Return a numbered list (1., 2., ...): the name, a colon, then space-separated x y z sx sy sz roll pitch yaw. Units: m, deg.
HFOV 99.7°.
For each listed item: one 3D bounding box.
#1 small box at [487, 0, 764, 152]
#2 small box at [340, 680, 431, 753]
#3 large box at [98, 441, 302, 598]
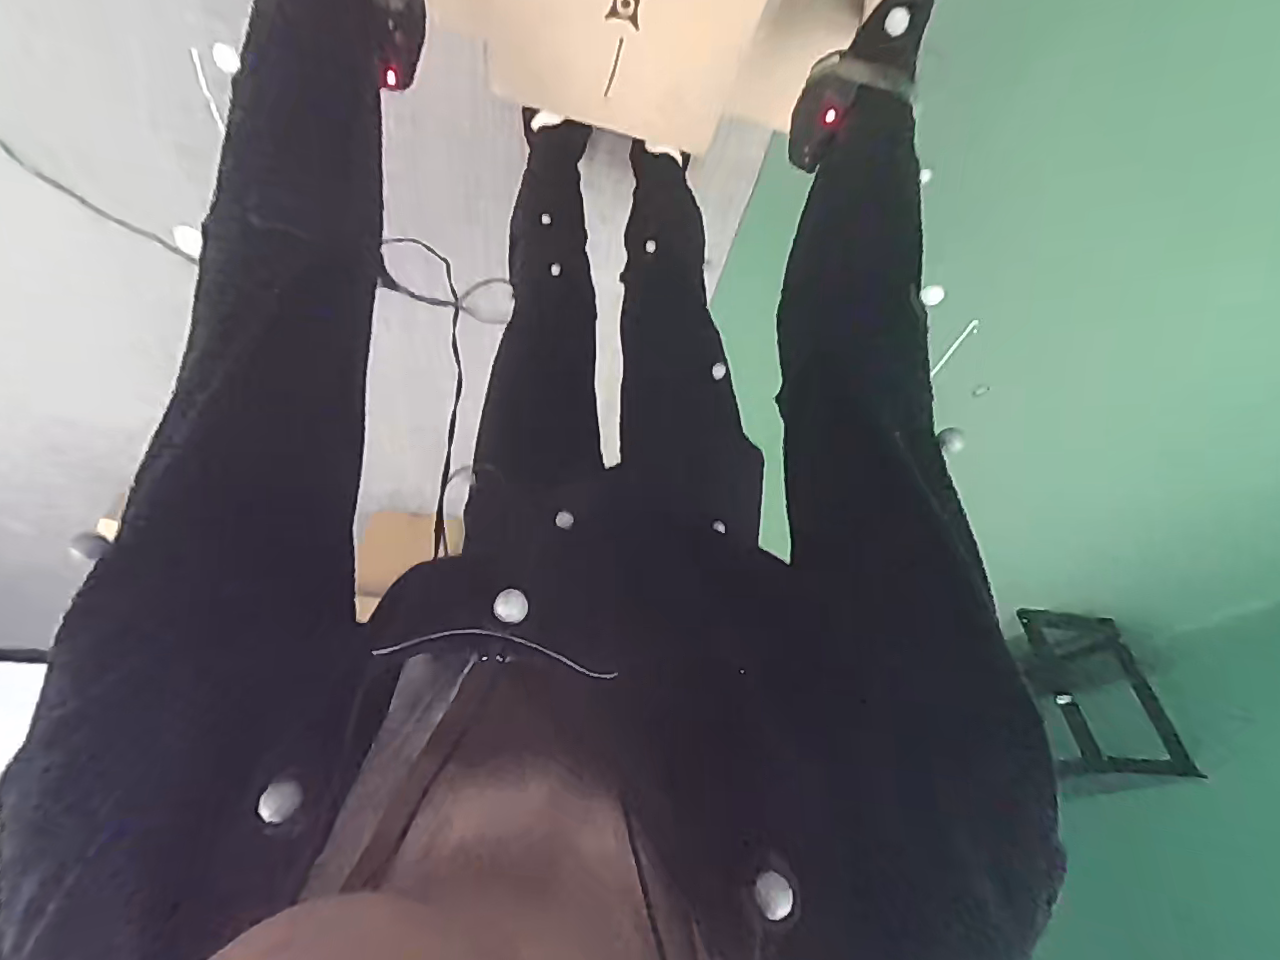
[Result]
1. small box: -0.005 -0.372 0.360 0.168 0.176 0.179 9 154 -13
2. small box: -0.785 0.738 1.688 0.179 0.176 0.168 -12 141 13
3. large box: -1.406 0.140 1.755 0.408 0.320 0.320 30 133 -31
